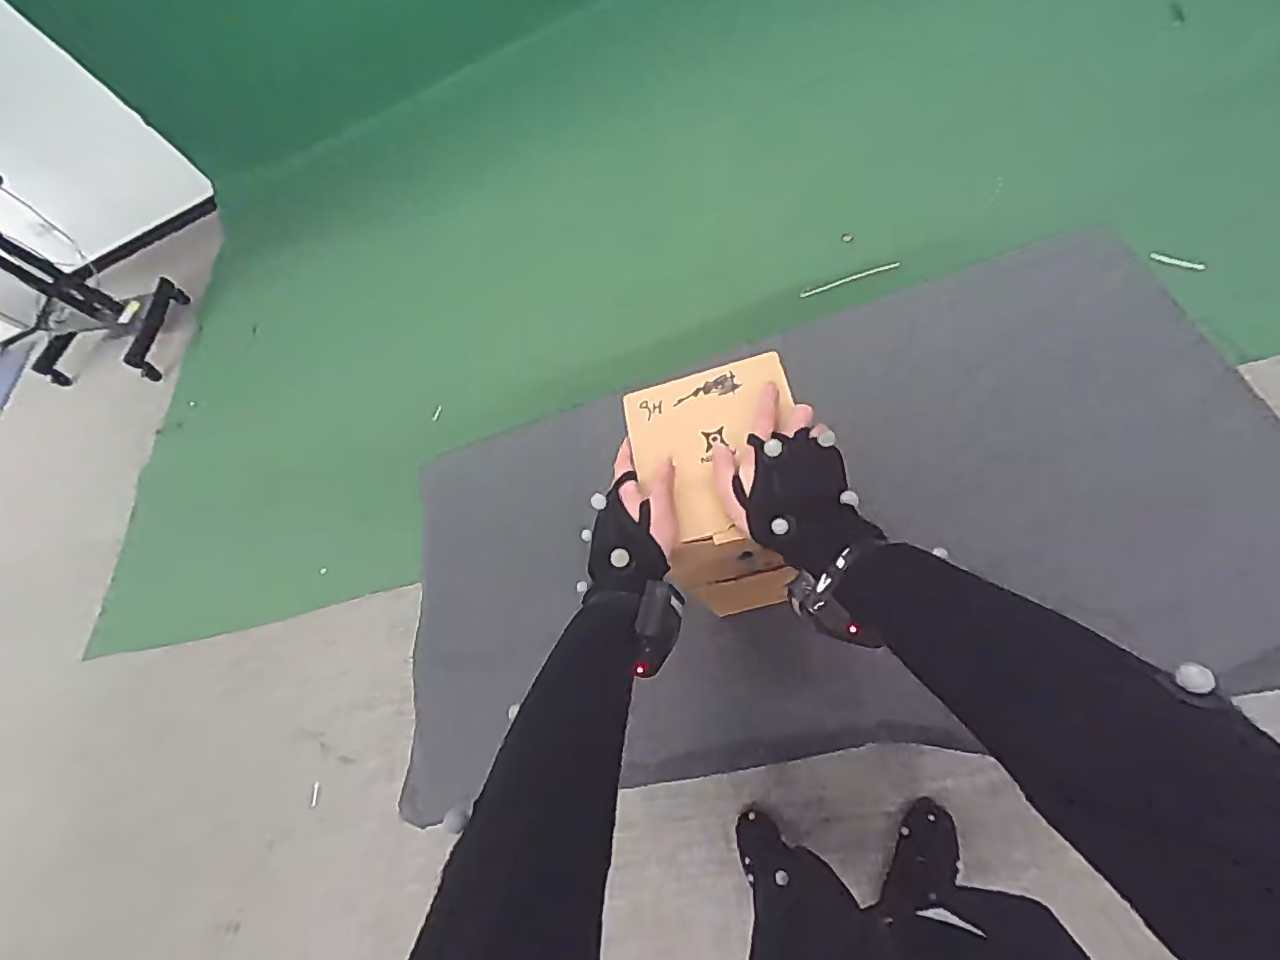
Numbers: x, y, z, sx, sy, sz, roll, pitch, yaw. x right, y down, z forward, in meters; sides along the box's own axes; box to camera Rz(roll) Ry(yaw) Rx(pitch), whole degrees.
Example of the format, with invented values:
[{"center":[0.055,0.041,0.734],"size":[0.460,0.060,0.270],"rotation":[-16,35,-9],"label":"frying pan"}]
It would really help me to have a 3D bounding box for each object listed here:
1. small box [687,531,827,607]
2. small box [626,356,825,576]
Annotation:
[{"center":[0.148,0.064,0.731],"size":[0.168,0.176,0.179],"rotation":[-17,61,11],"label":"small box"},{"center":[0.096,0.000,0.593],"size":[0.168,0.176,0.179],"rotation":[-14,66,10],"label":"small box"}]
